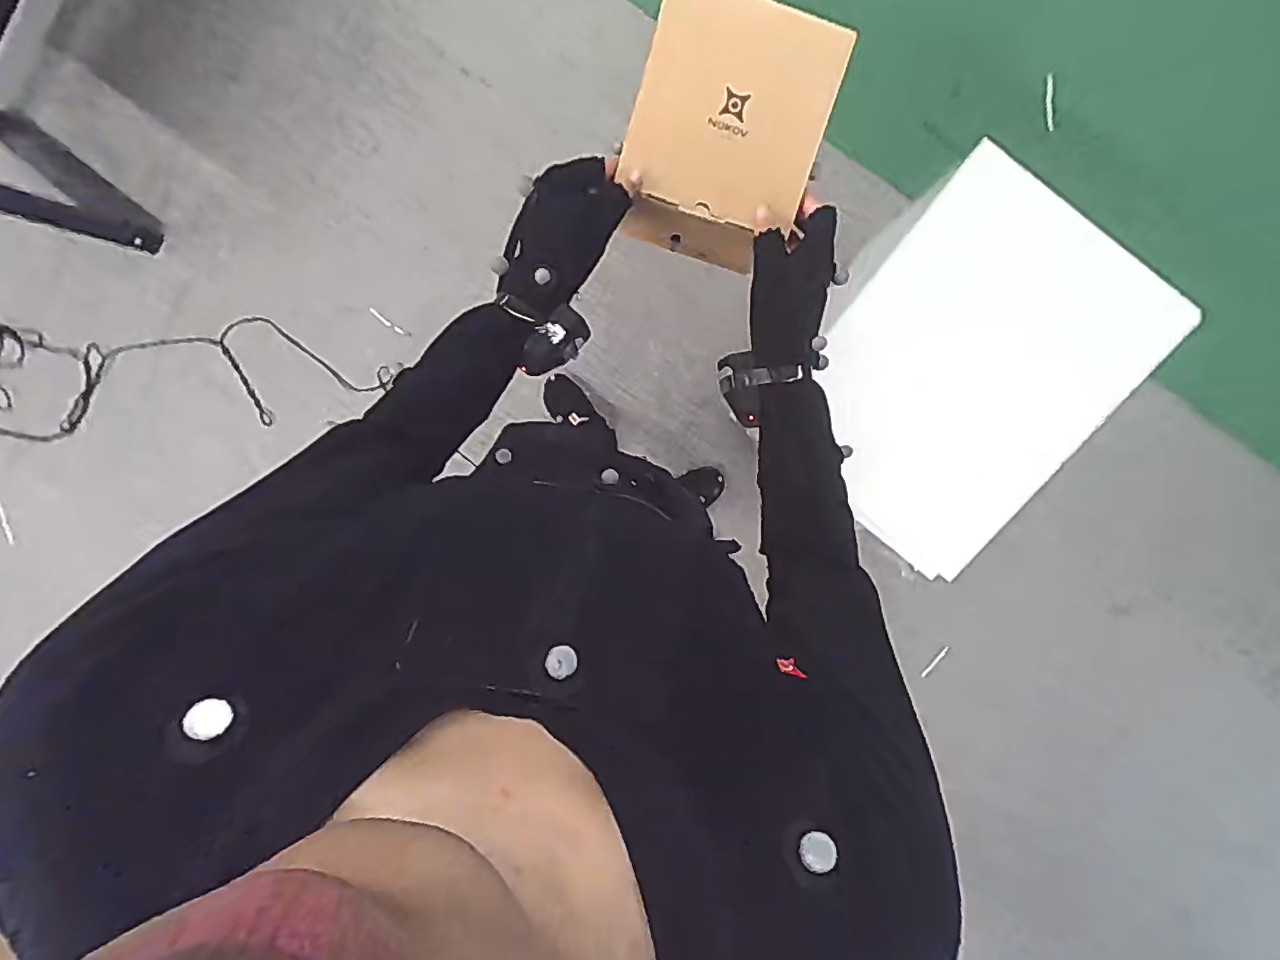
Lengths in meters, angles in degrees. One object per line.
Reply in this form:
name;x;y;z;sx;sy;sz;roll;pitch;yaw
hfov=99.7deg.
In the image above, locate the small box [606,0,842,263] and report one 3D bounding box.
small box;0.067;-0.339;0.540;0.168;0.176;0.179;15;102;-5
